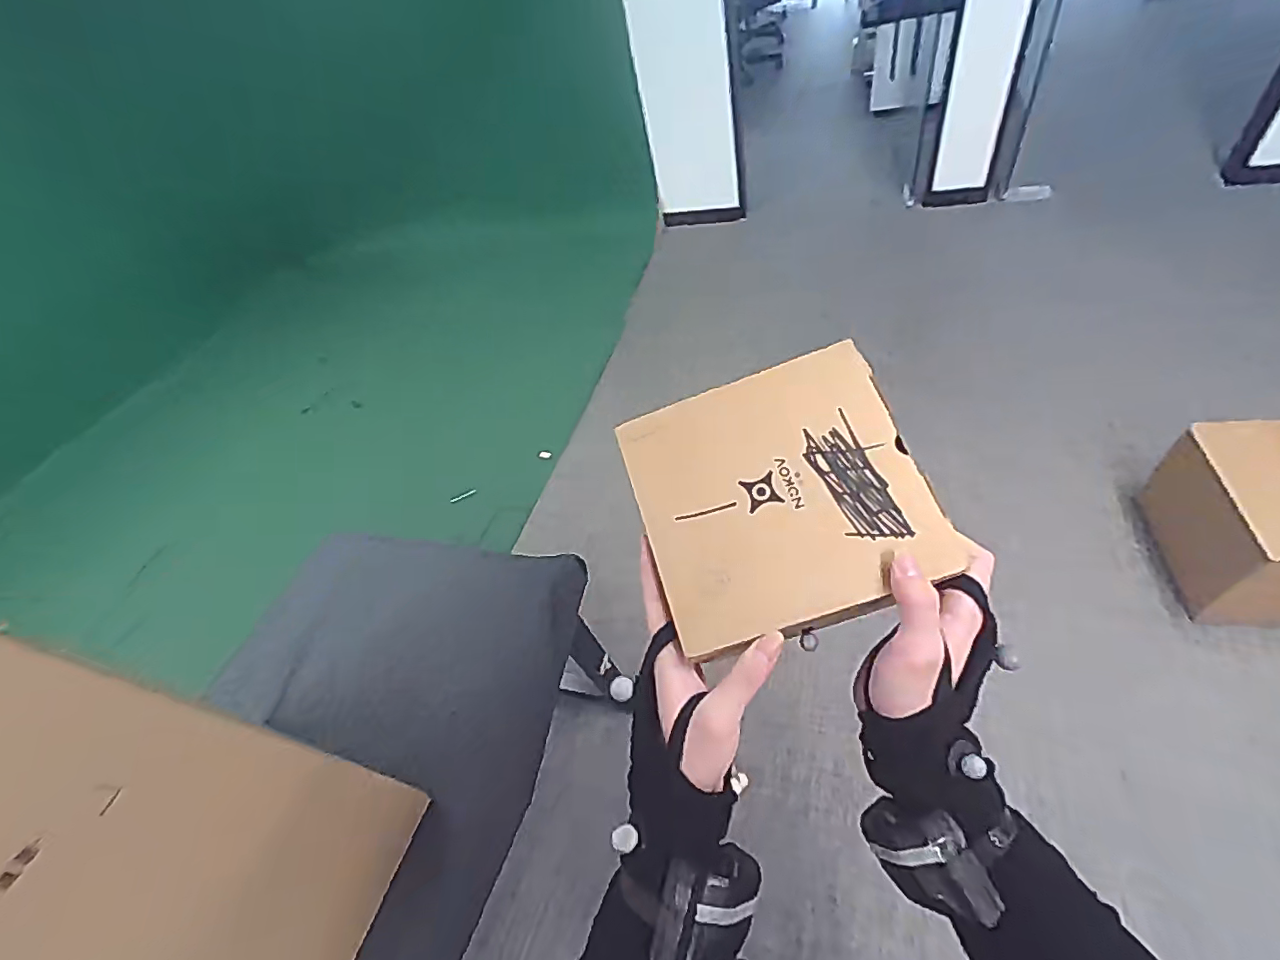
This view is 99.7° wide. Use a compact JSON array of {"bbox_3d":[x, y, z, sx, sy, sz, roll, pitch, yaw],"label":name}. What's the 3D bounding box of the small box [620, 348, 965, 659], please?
[{"bbox_3d":[0.102,0.033,0.421,0.179,0.176,0.168,-19,68,6],"label":"small box"}]
